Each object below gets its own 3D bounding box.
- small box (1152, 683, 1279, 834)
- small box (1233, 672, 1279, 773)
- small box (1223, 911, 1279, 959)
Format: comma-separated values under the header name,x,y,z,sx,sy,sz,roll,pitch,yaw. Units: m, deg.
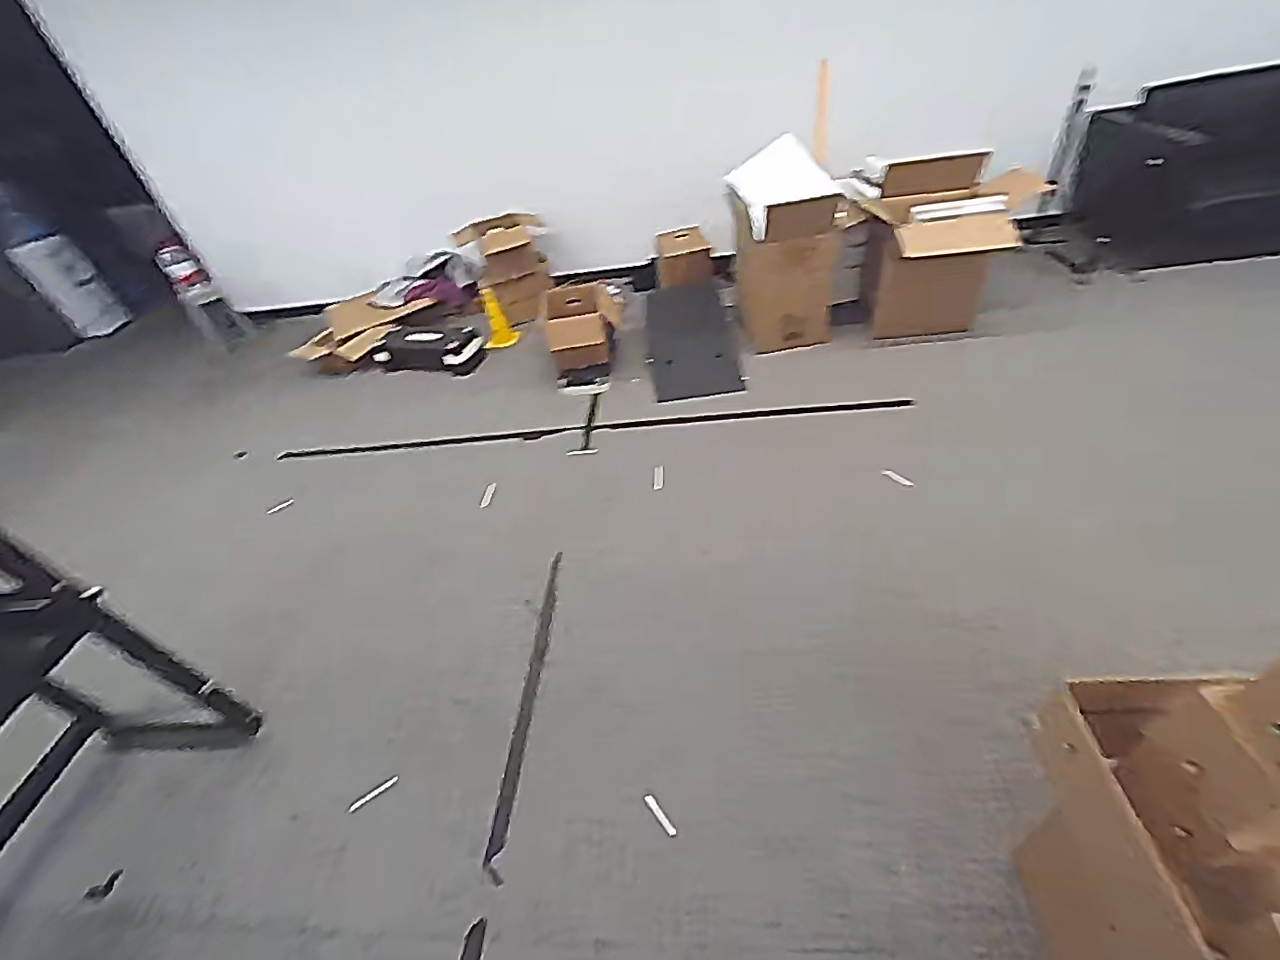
name,x,y,z,sx,sy,sz,roll,pitch,yaw
small box,0.967,0.426,0.830,0.179,0.176,0.168,-6,44,4
small box,0.961,0.327,0.697,0.179,0.176,0.168,-4,44,6
small box,0.974,0.725,0.740,0.179,0.176,0.168,1,42,11
